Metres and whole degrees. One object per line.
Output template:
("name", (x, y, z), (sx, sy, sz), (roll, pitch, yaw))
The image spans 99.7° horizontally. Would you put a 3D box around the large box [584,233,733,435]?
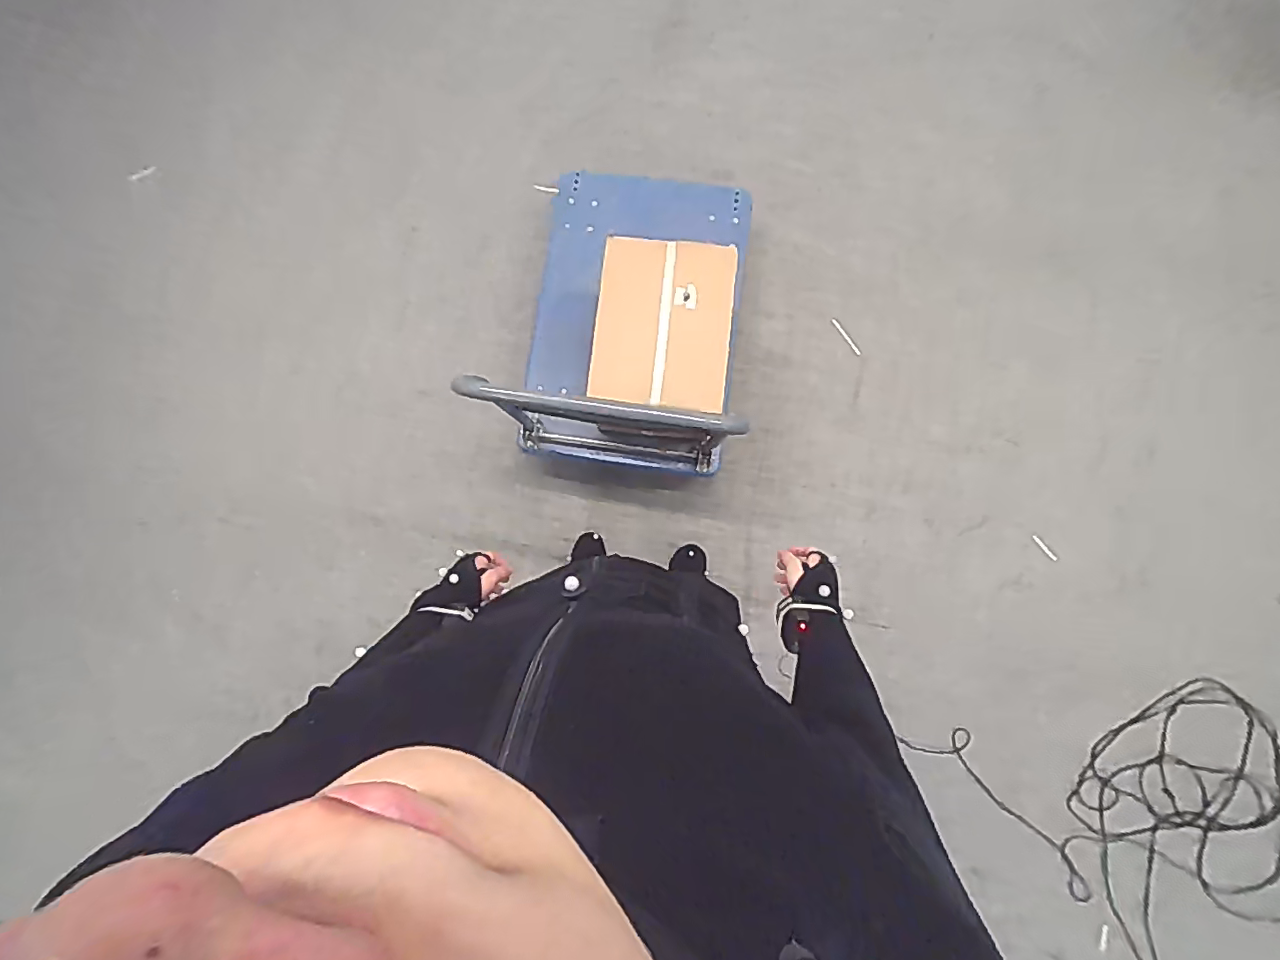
("large box", (0.046, -0.349, 1.383), (0.320, 0.320, 0.408), (7, 83, 0))
